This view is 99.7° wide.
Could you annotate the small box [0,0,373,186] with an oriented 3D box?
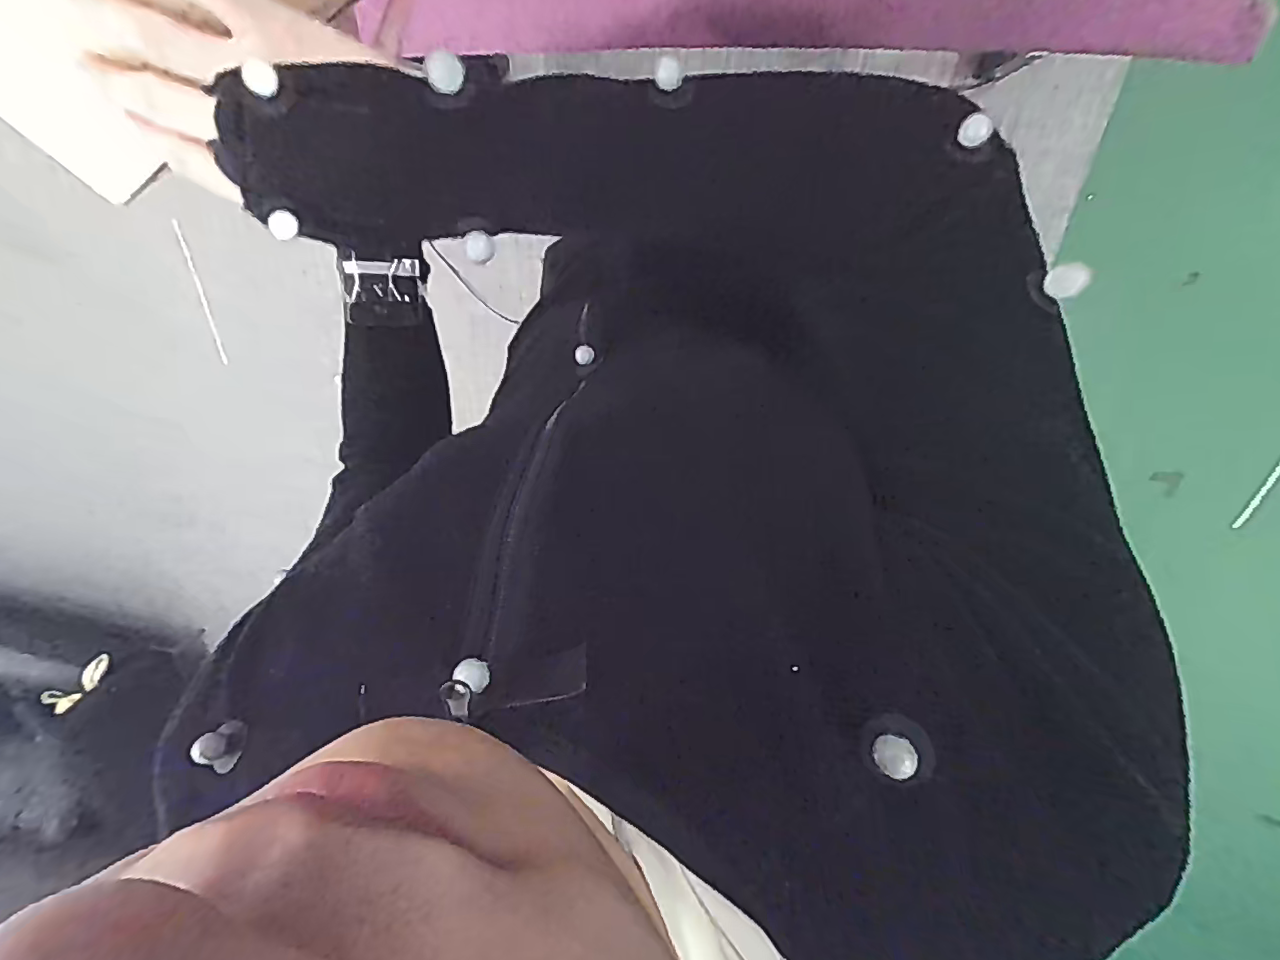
[{"bbox_3d":[-0.268,-0.293,0.278,0.179,0.168,0.176,-15,139,26],"label":"small box"}]
